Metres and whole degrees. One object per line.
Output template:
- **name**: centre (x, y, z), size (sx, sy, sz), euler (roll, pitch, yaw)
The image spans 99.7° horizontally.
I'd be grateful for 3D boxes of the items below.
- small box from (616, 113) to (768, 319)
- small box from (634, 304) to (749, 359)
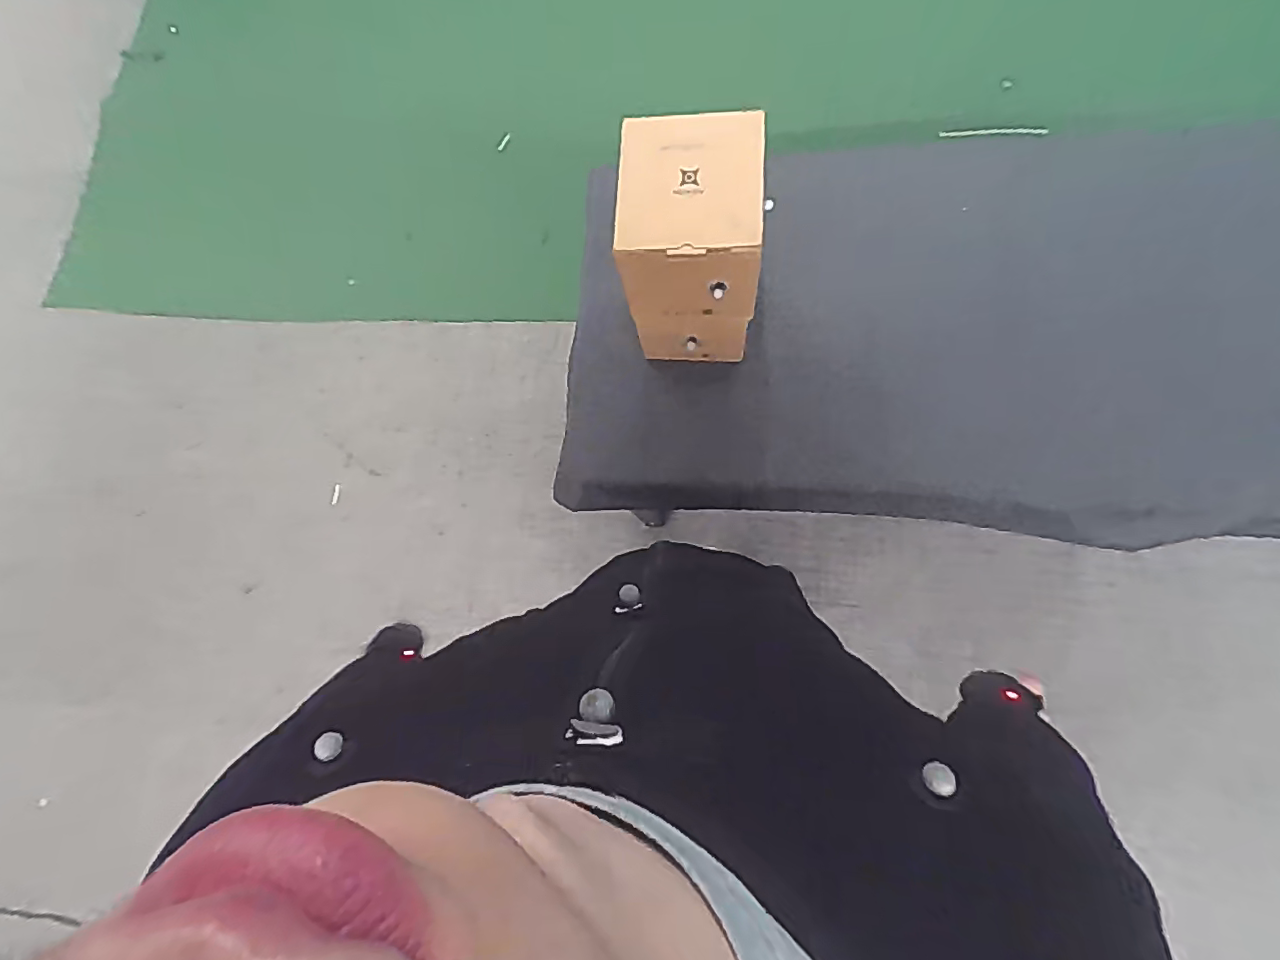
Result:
- **small box**: centre (0.069, -0.319, 0.686), size (0.168, 0.176, 0.179), euler (2, 78, 7)
- **small box**: centre (0.090, -0.301, 0.847), size (0.168, 0.176, 0.179), euler (4, 80, 8)
